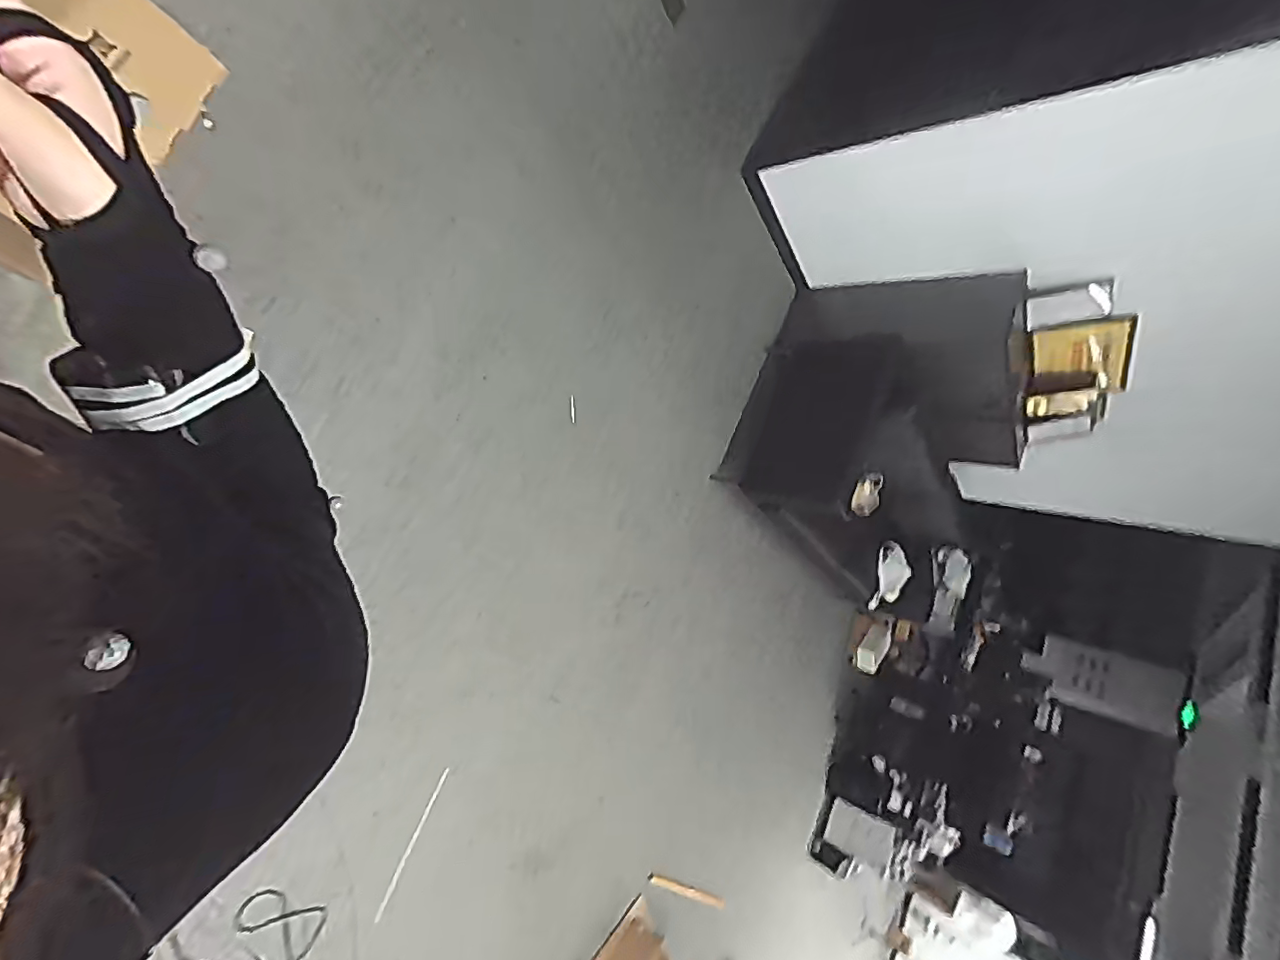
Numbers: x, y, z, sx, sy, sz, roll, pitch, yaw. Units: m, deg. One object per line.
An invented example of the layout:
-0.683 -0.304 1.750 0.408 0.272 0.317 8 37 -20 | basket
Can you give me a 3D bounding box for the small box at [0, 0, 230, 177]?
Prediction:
-0.656 -0.502 0.657 0.179 0.176 0.168 38 69 -45 | small box
